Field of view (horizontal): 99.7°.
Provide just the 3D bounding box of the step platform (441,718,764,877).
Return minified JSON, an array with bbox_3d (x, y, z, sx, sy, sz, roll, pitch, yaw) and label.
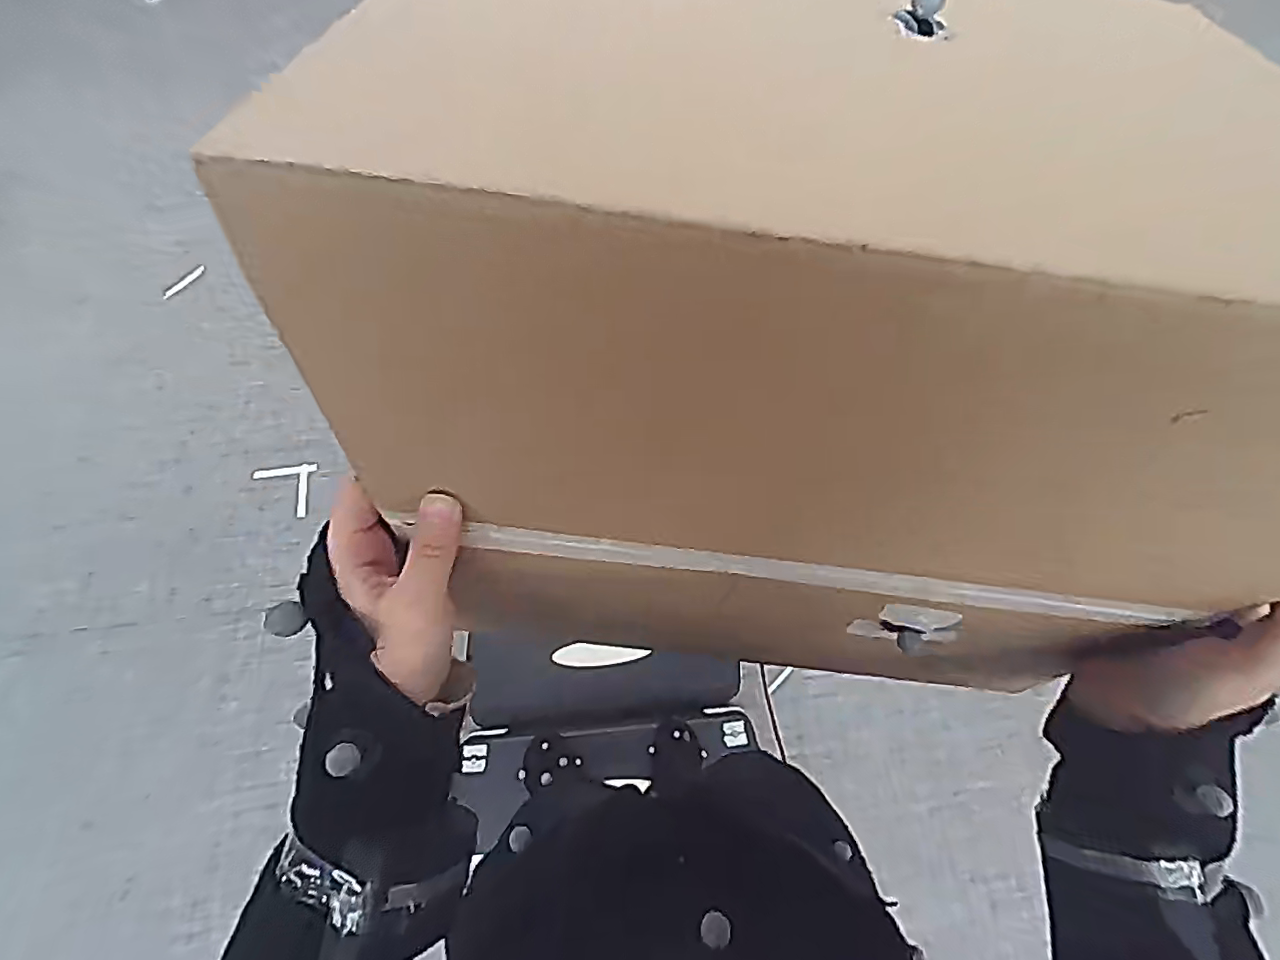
[{"bbox_3d":[-0.076,0.689,1.195,0.684,0.204,0.286,0,70,0],"label":"step platform"}]
